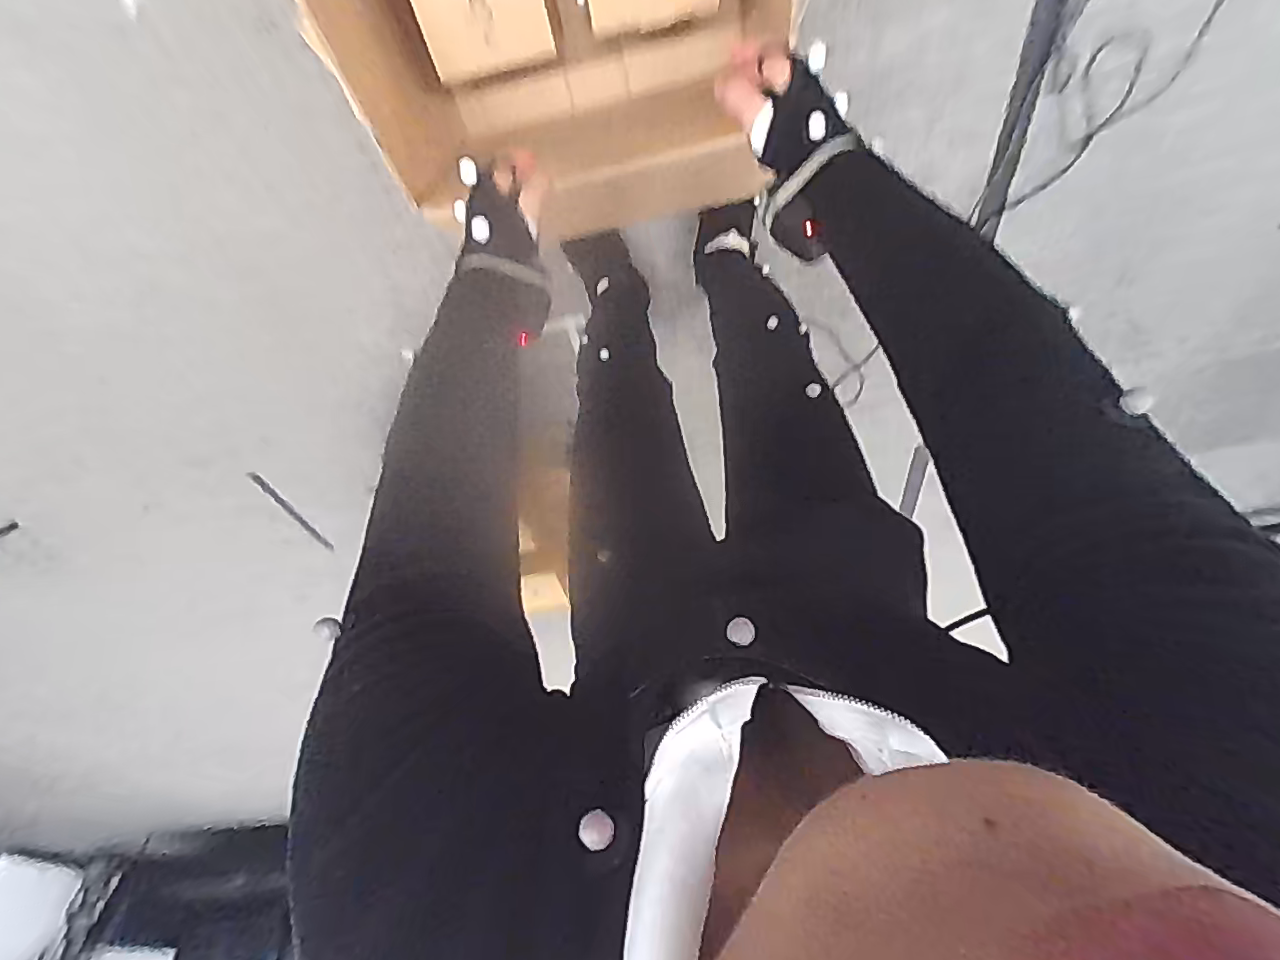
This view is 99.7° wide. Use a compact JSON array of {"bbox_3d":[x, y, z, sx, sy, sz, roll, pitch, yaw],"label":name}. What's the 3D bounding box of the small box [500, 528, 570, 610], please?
[{"bbox_3d":[-0.311,0.270,1.644,0.168,0.176,0.179,-9,134,4],"label":"small box"}]
